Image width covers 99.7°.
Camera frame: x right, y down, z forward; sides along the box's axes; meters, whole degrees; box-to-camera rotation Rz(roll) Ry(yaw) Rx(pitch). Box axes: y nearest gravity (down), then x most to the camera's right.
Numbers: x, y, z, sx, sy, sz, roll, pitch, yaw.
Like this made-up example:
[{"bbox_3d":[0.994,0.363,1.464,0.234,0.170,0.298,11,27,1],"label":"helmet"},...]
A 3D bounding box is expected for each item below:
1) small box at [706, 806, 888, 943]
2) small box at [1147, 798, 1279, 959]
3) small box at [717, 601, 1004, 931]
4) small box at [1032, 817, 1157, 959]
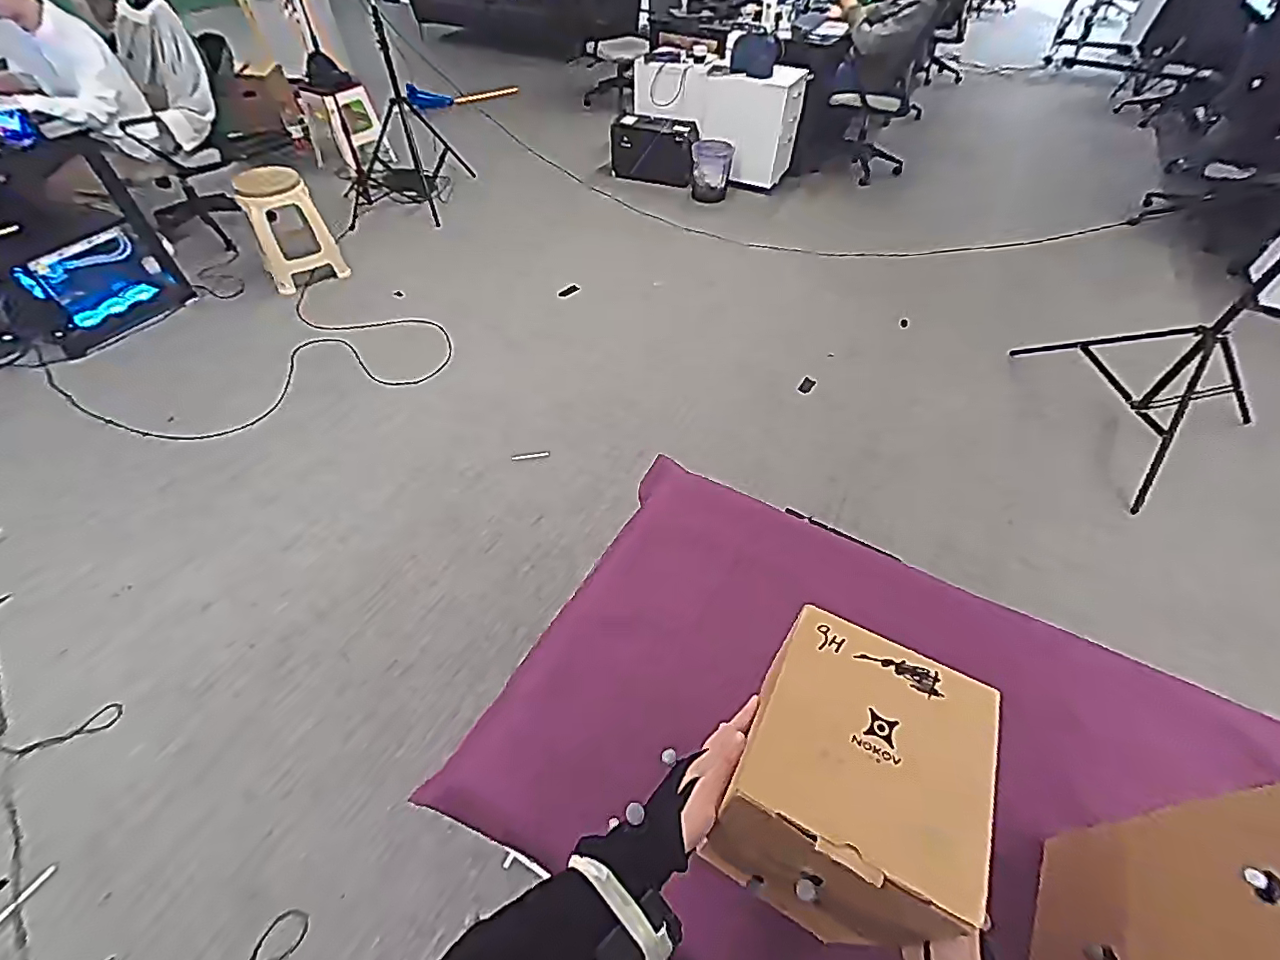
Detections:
[{"bbox_3d":[0.183,0.364,0.597,0.168,0.176,0.179,25,52,18],"label":"small box"},{"bbox_3d":[0.520,0.362,0.392,0.168,0.176,0.179,26,54,20],"label":"small box"},{"bbox_3d":[0.176,0.247,0.467,0.168,0.176,0.179,24,51,16],"label":"small box"},{"bbox_3d":[0.512,0.470,0.516,0.168,0.176,0.179,27,53,19],"label":"small box"}]
